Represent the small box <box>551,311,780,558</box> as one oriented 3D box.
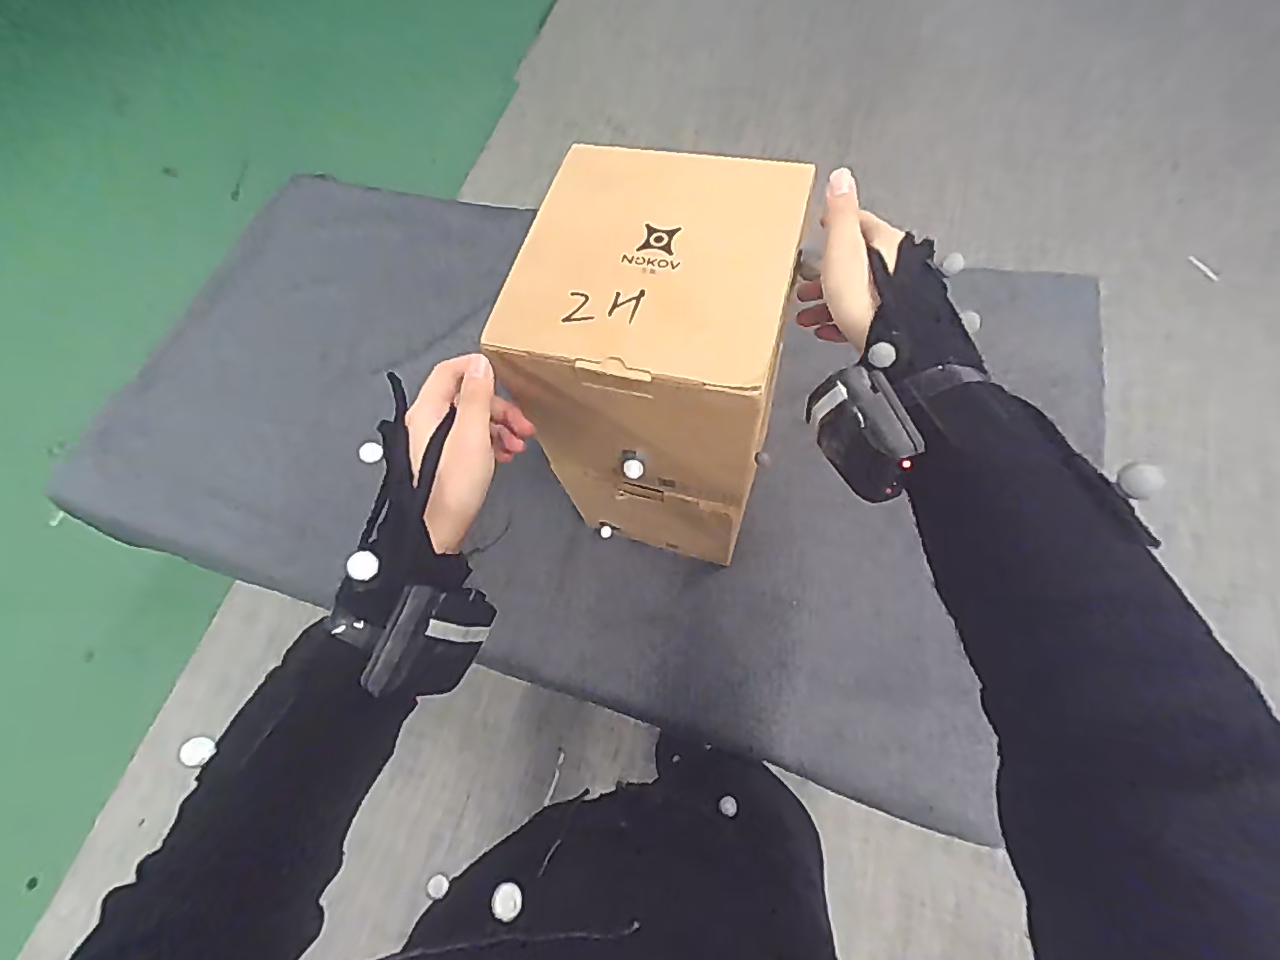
[{"bbox_3d":[0.034,-0.037,0.549,0.168,0.176,0.179,15,69,13],"label":"small box"}]
